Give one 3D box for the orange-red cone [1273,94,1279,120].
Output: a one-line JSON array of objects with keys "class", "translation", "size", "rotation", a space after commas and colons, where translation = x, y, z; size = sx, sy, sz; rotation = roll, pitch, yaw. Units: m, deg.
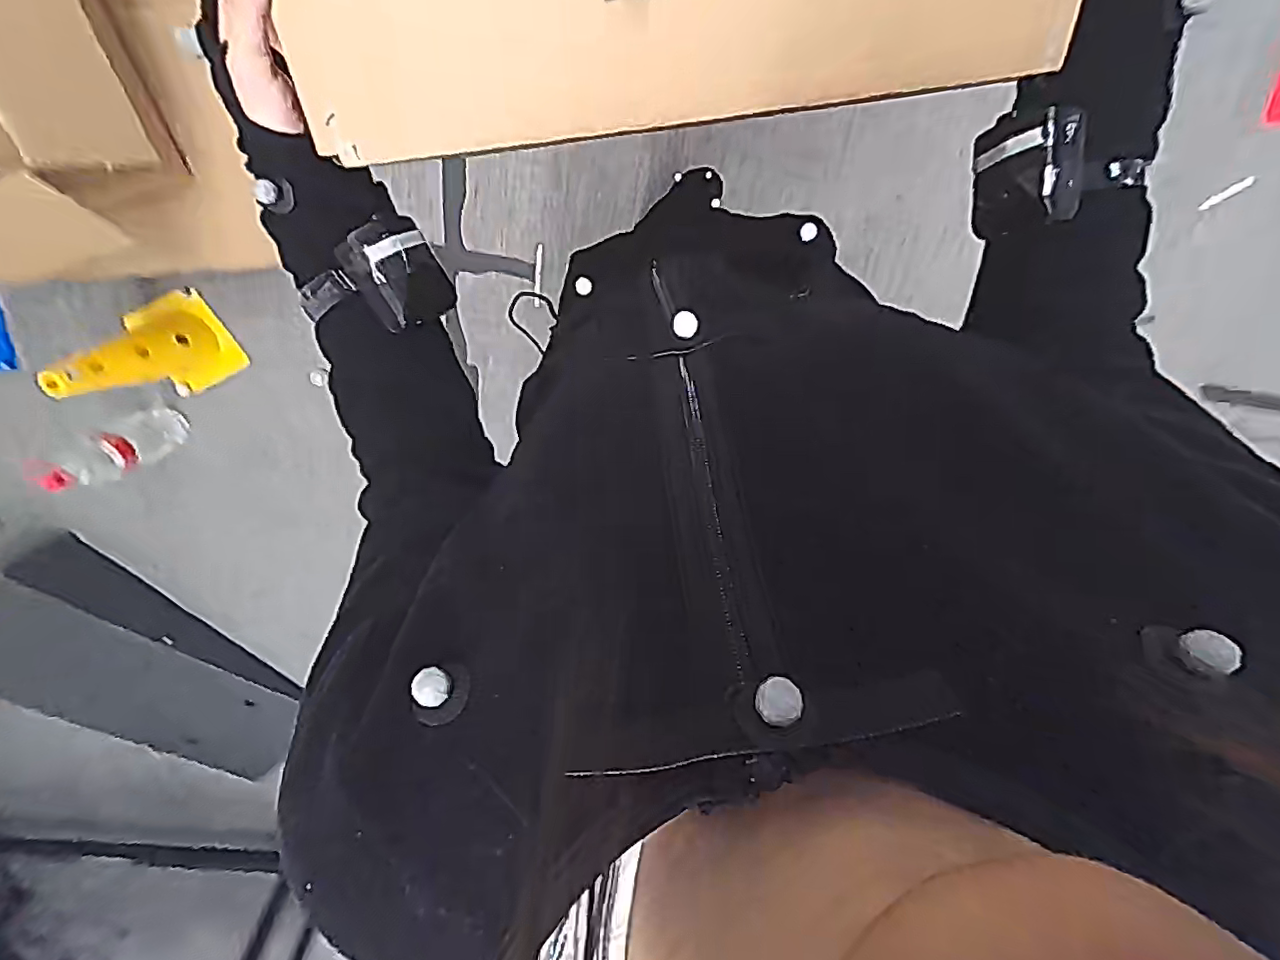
[{"class": "orange-red cone", "translation": [1.490, -0.806, 0.999], "size": [0.198, 0.360, 0.199], "rotation": [-2, 116, -3]}]
